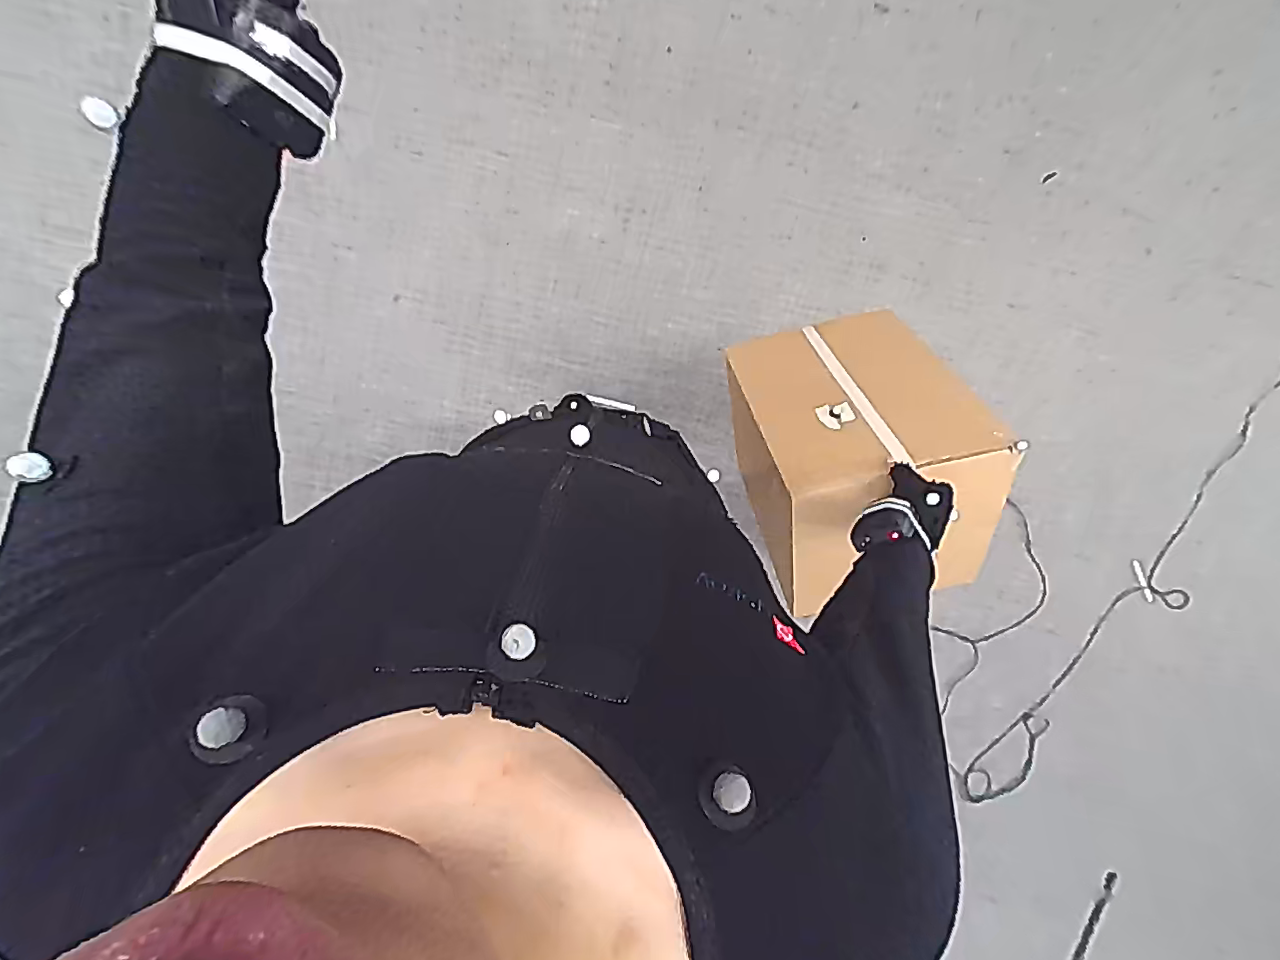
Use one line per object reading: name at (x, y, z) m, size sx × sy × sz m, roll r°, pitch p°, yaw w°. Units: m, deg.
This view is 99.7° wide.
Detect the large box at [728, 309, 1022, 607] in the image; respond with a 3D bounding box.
large box at (0.363, -0.045, 0.966) m, size 0.320 × 0.408 × 0.320 m, roll -13°, pitch 134°, yaw 4°
